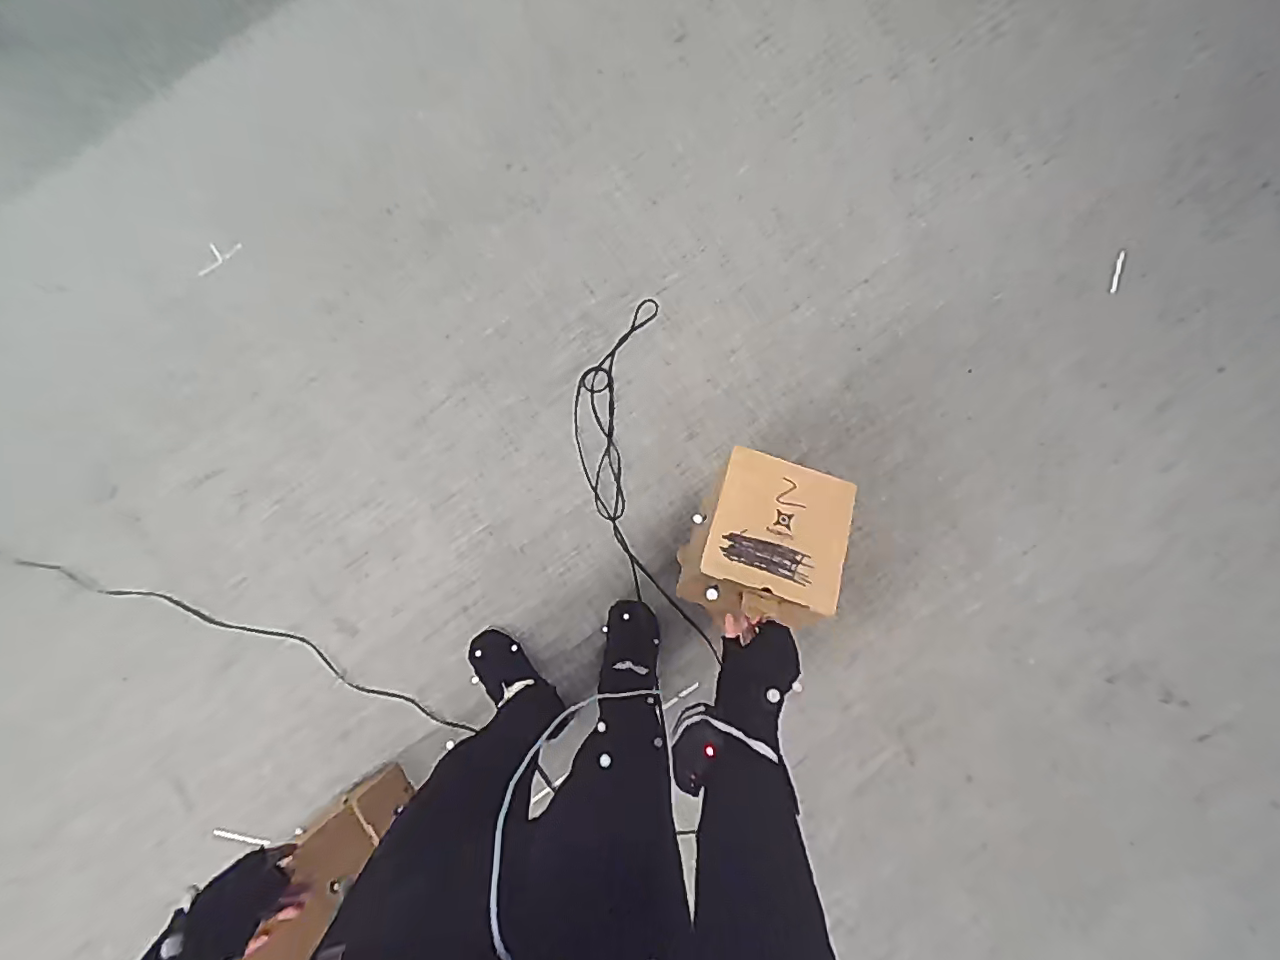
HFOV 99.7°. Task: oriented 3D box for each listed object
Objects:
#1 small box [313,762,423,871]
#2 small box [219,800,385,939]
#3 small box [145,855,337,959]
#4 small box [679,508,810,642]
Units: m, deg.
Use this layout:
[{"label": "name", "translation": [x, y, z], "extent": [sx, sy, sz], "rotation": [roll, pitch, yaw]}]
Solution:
[{"label": "small box", "translation": [-0.603, 0.758, 1.181], "extent": [0.179, 0.176, 0.168], "rotation": [-33, 85, 2]}, {"label": "small box", "translation": [-0.621, 0.754, 1.017], "extent": [0.168, 0.176, 0.179], "rotation": [-32, 85, 2]}, {"label": "small box", "translation": [-0.627, 0.754, 0.854], "extent": [0.168, 0.176, 0.179], "rotation": [-32, 85, 2]}, {"label": "small box", "translation": [0.180, 0.167, 1.000], "extent": [0.168, 0.176, 0.179], "rotation": [-31, 87, 1]}]
